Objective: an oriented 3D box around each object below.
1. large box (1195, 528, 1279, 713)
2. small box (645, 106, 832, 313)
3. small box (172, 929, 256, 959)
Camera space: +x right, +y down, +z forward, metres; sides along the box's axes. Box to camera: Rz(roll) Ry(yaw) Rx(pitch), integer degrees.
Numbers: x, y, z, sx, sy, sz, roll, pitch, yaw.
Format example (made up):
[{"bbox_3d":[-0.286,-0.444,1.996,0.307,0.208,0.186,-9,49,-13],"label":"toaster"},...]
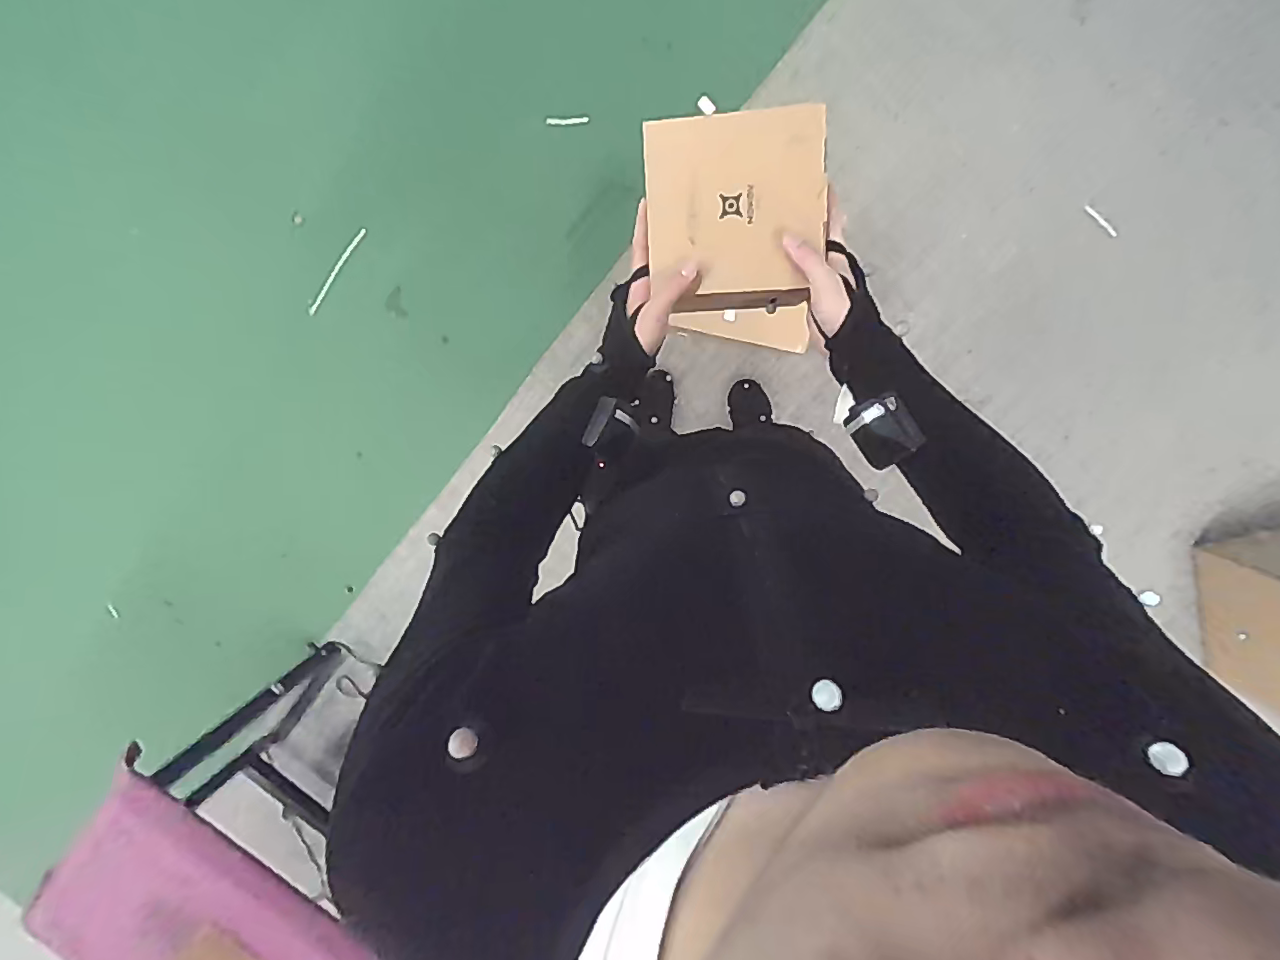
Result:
[{"bbox_3d":[1.713,0.363,1.356,0.320,0.320,0.408,-16,99,10],"label":"large box"},{"bbox_3d":[0.102,-0.280,0.599,0.179,0.176,0.168,-1,102,7],"label":"small box"},{"bbox_3d":[-1.032,1.185,1.237,0.179,0.176,0.168,42,104,-4],"label":"small box"}]
